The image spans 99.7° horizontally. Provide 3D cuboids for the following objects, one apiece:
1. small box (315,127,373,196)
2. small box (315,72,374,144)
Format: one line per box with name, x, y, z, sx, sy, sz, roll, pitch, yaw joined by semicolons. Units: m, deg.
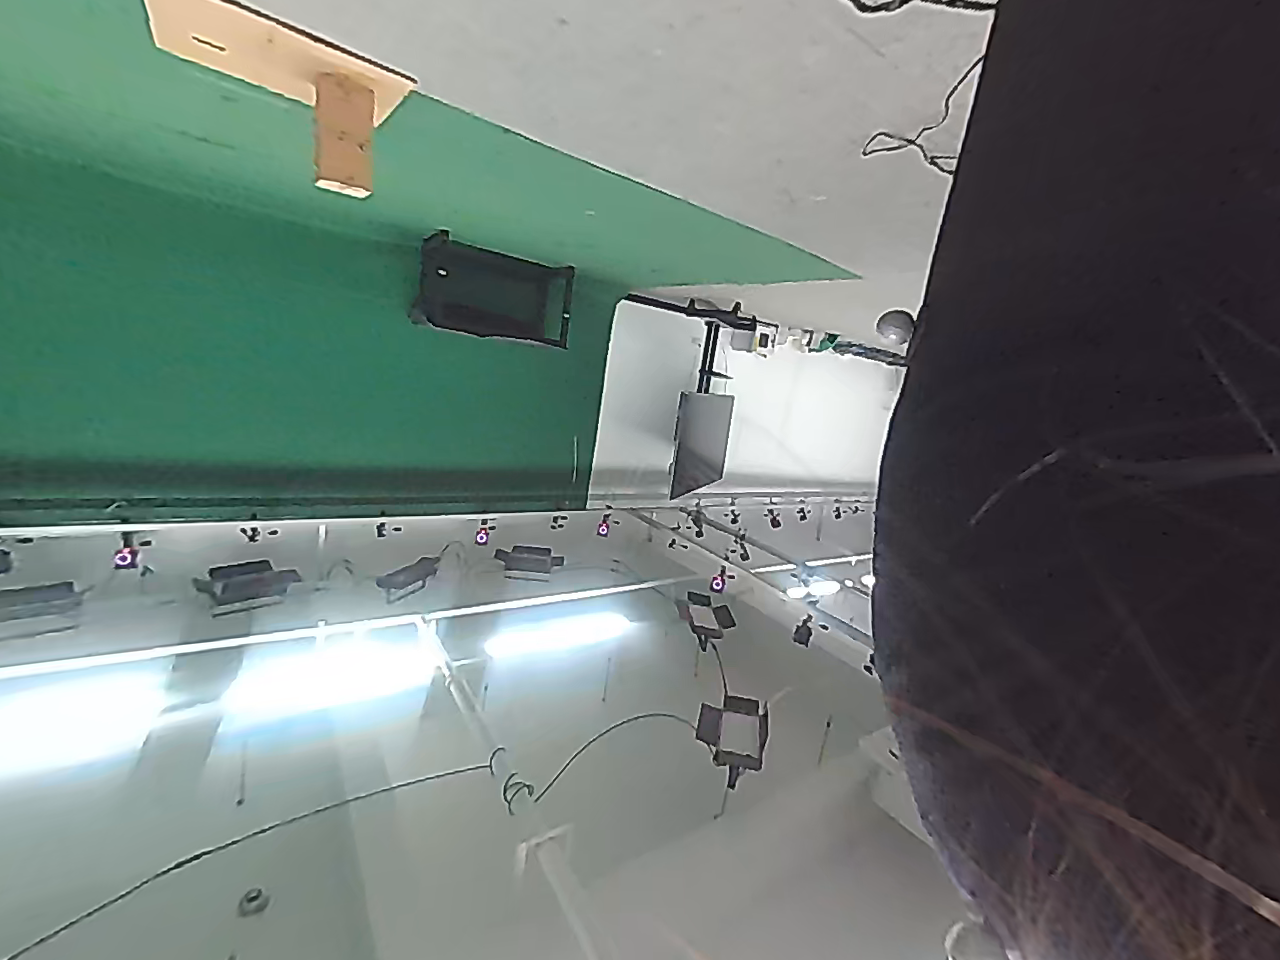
small box;-1.091;-1.170;1.990;0.168;0.176;0.179;-1;-164;-38
small box;-1.068;-1.329;1.954;0.168;0.176;0.179;-2;-165;-37
